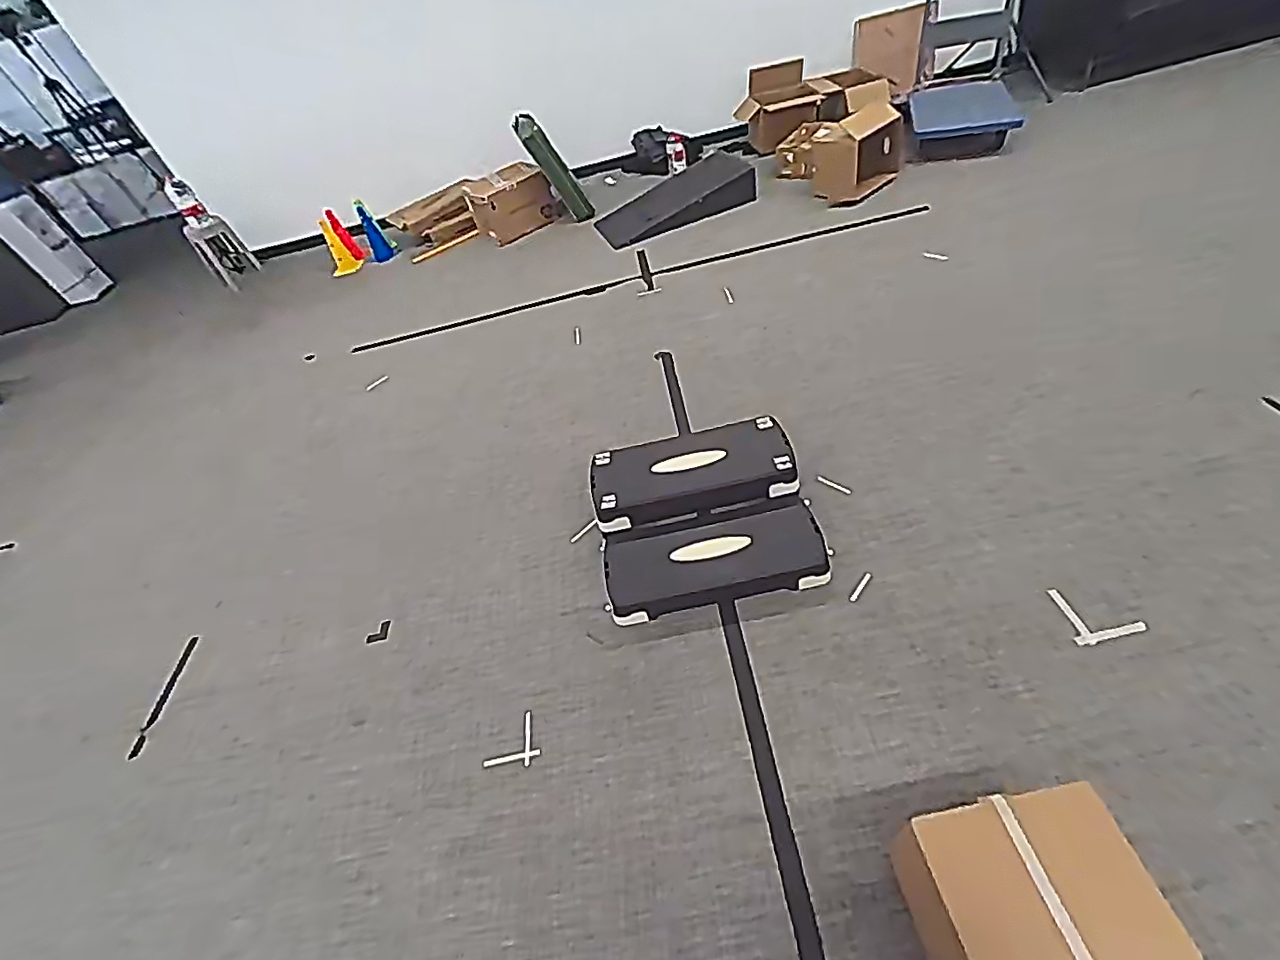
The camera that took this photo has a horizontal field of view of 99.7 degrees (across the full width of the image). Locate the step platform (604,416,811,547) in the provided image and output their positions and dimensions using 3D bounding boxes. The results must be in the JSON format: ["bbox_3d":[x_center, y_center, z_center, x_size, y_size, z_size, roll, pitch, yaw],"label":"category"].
[{"bbox_3d":[0.220,-0.002,1.843,0.684,0.204,0.286,-13,46,2],"label":"step platform"}]

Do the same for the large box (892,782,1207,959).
[{"bbox_3d":[0.682,0.791,0.906,0.320,0.320,0.408,-15,47,3],"label":"large box"}]
